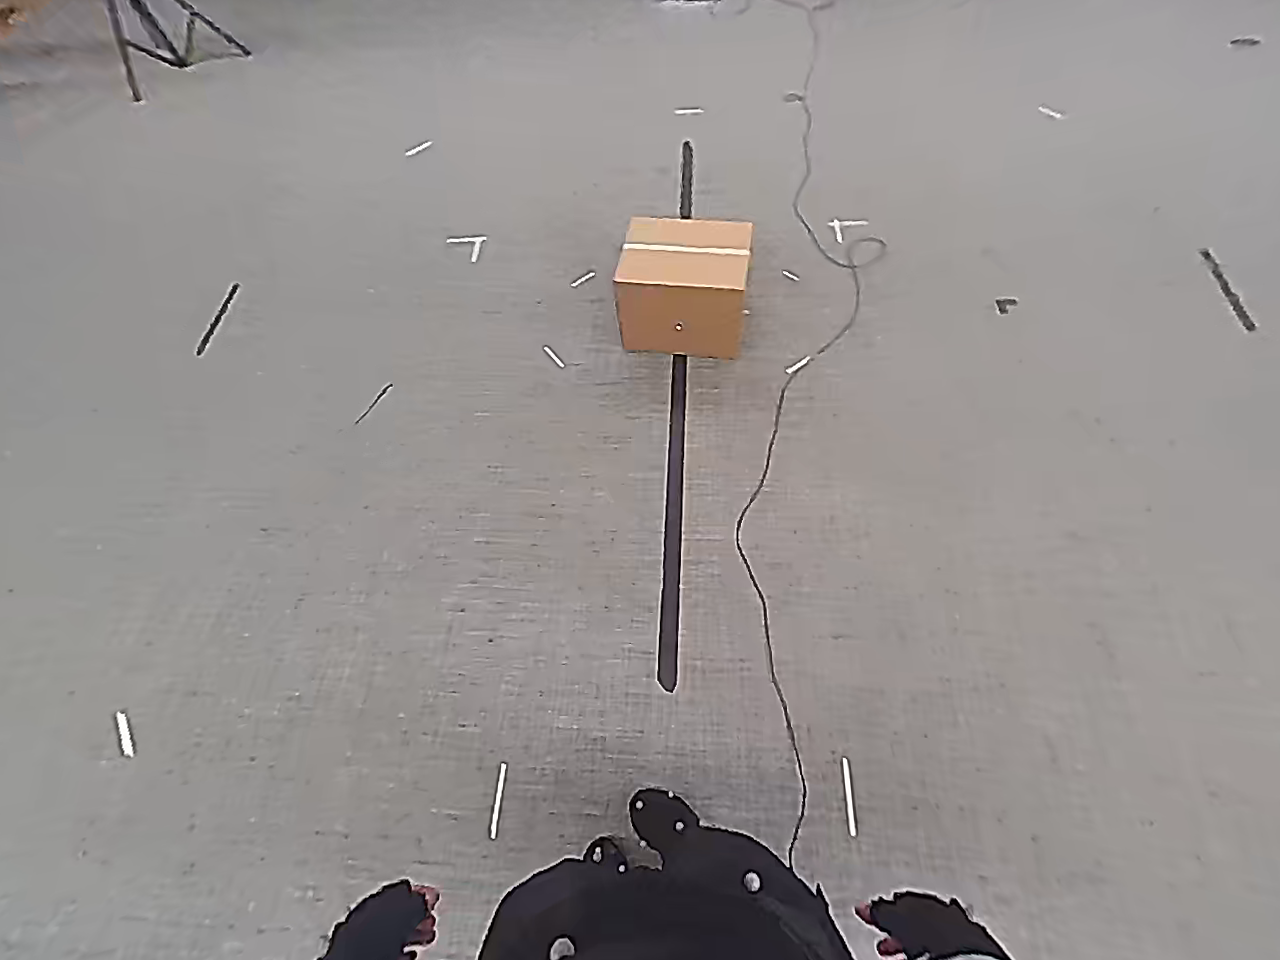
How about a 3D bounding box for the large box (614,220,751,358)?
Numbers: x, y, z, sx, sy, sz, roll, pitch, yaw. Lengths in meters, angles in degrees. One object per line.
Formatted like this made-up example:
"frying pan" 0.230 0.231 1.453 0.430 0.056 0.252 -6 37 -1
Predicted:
"large box" 0.146 -0.638 1.825 0.408 0.320 0.320 7 62 9
